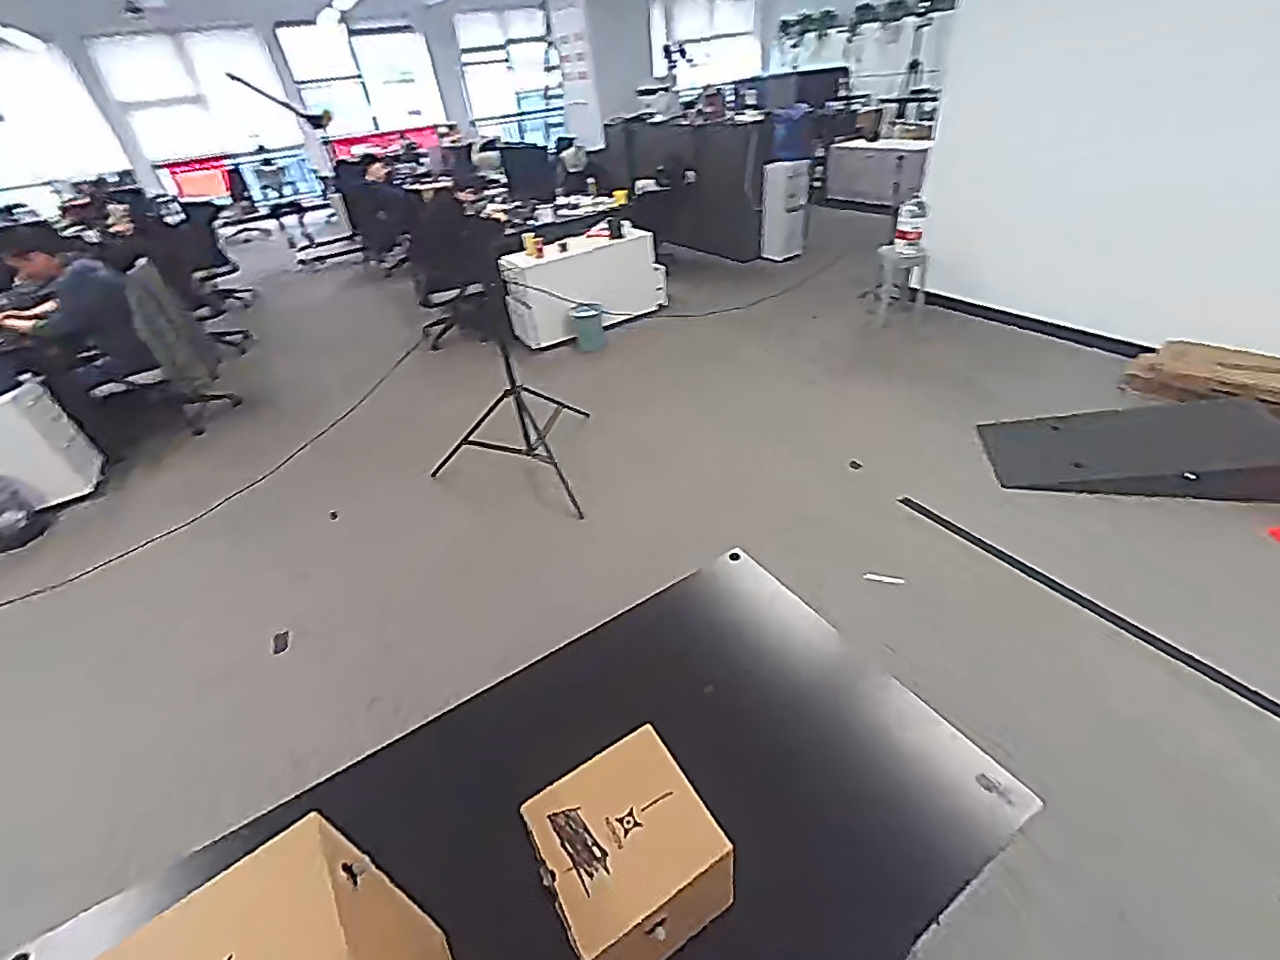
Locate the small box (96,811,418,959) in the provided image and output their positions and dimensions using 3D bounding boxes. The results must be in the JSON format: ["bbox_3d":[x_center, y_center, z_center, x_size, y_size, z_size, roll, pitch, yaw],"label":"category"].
[{"bbox_3d":[-0.284,0.423,0.428,0.168,0.176,0.179,-29,41,-26],"label":"small box"}]

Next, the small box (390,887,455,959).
[{"bbox_3d":[-0.264,0.557,0.523,0.168,0.176,0.179,-28,41,-25],"label":"small box"}]

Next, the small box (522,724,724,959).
[{"bbox_3d":[-0.013,0.439,0.636,0.179,0.176,0.168,-24,39,-22],"label":"small box"}]
